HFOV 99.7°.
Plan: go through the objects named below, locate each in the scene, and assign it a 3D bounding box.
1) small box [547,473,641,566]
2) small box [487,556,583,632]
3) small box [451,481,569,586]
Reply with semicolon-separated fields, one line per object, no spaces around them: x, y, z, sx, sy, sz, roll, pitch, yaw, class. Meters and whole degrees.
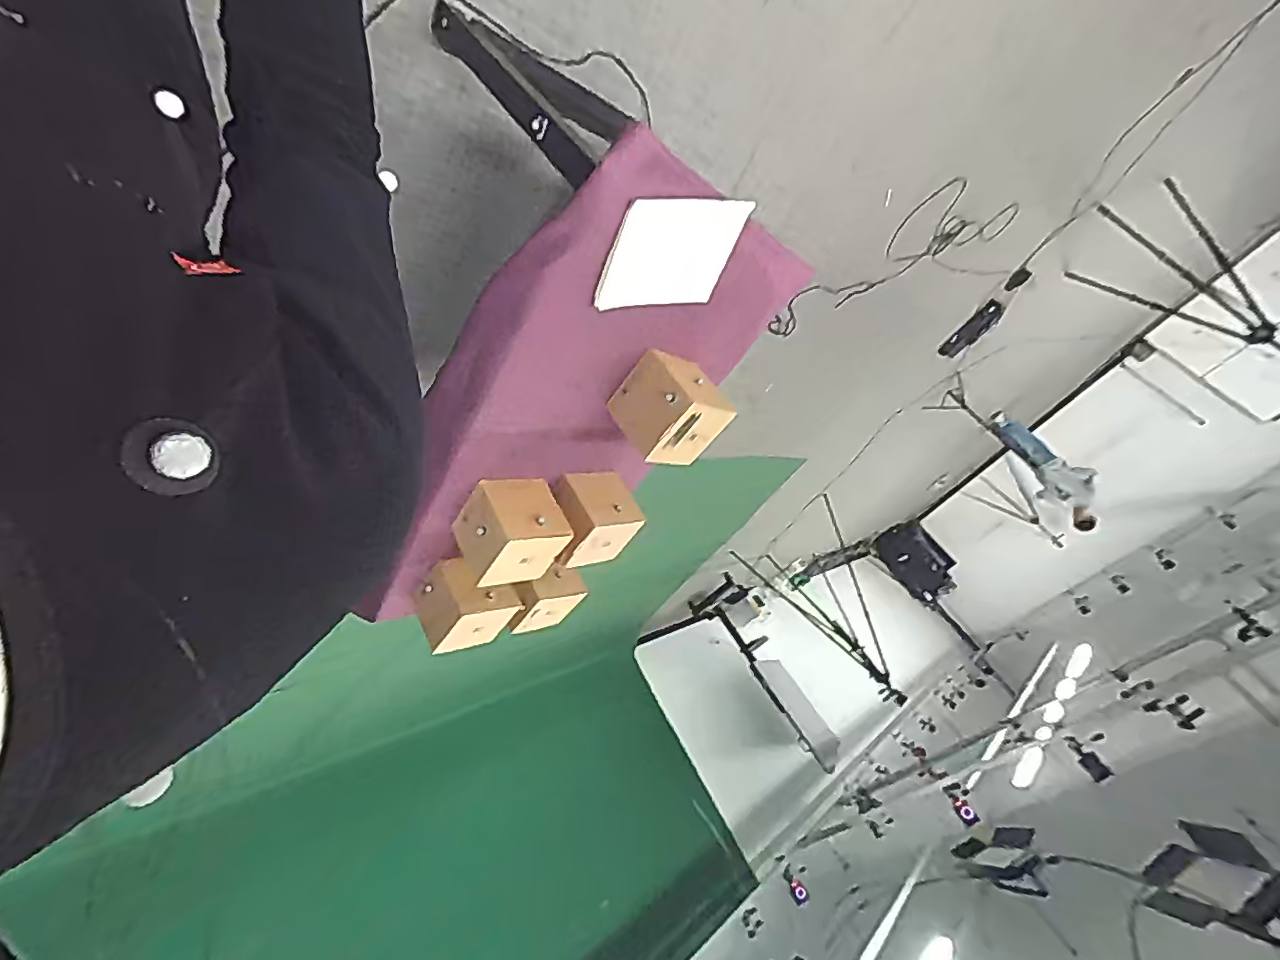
-0.136;0.095;1.375;0.179;0.176;0.168;-2;139;-47;small box
-0.303;0.303;1.539;0.179;0.176;0.168;2;136;-51;small box
-0.299;0.114;1.222;0.179;0.176;0.168;1;137;-49;small box
